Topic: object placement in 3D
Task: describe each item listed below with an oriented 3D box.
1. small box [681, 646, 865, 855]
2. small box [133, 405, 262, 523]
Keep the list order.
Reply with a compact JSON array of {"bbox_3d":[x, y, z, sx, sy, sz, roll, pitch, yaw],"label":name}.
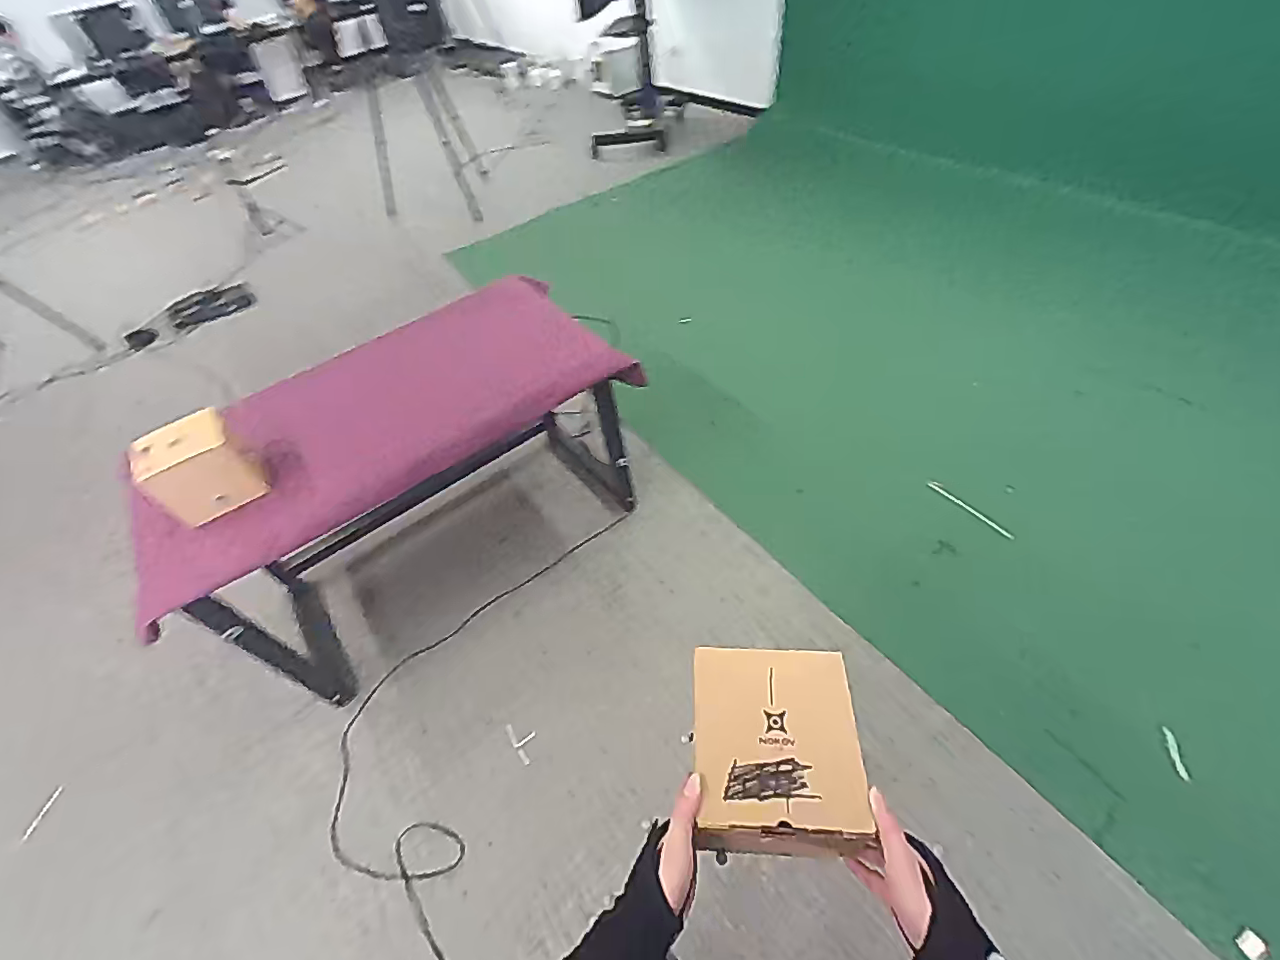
[{"bbox_3d":[0.131,0.304,0.604,0.168,0.176,0.179,0,48,3],"label":"small box"},{"bbox_3d":[-1.007,-0.037,1.245,0.179,0.176,0.168,-30,52,-19],"label":"small box"}]
